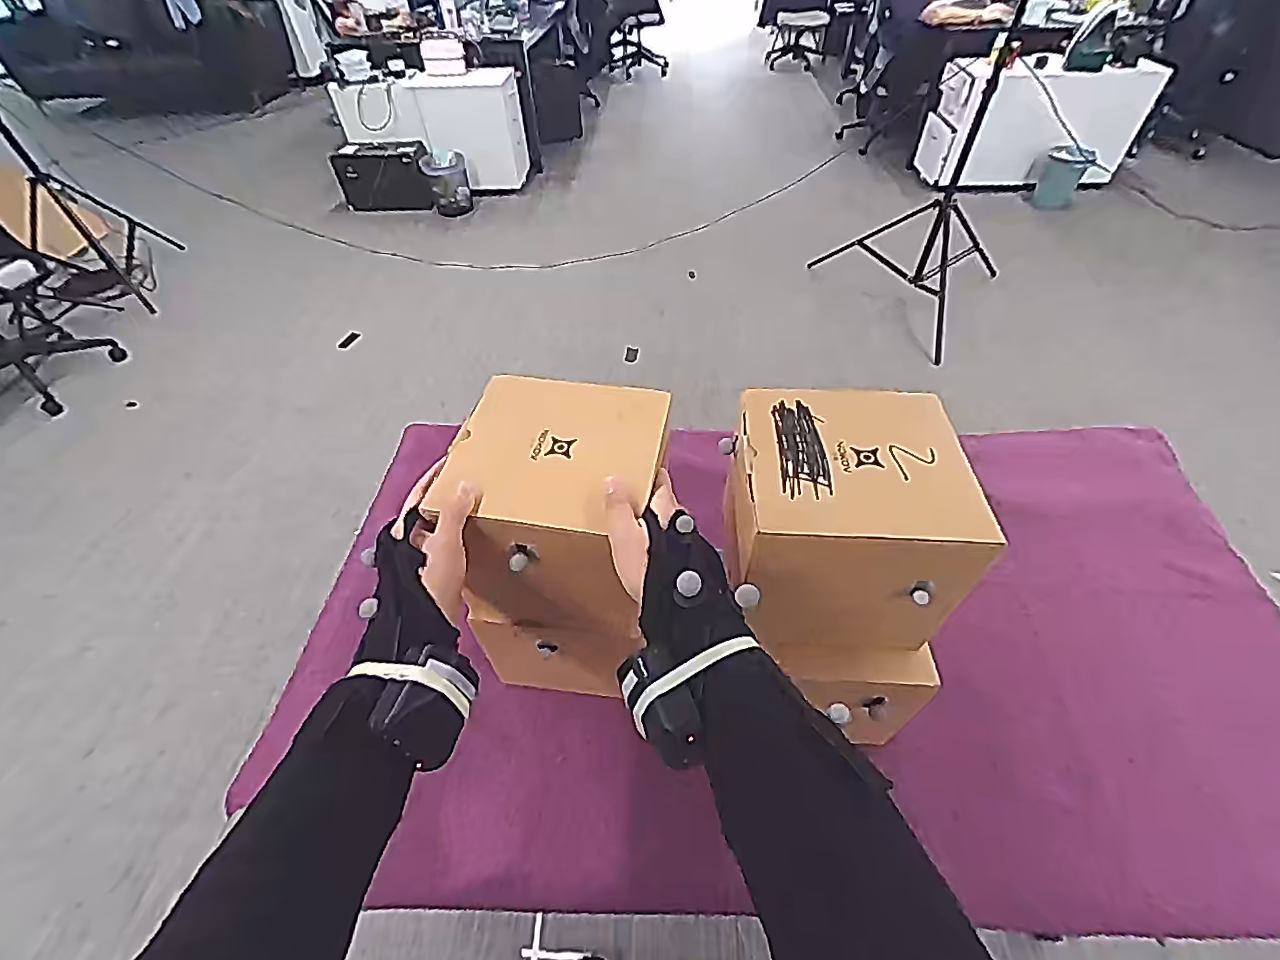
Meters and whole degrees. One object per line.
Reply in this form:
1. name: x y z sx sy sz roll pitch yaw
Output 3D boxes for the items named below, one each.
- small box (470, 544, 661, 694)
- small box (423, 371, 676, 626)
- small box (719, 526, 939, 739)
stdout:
1. small box: -0.070 0.133 0.630 0.179 0.176 0.168 5 49 5
2. small box: -0.065 0.021 0.512 0.179 0.176 0.168 7 49 8
3. small box: 0.184 0.169 0.591 0.179 0.176 0.168 2 47 3
